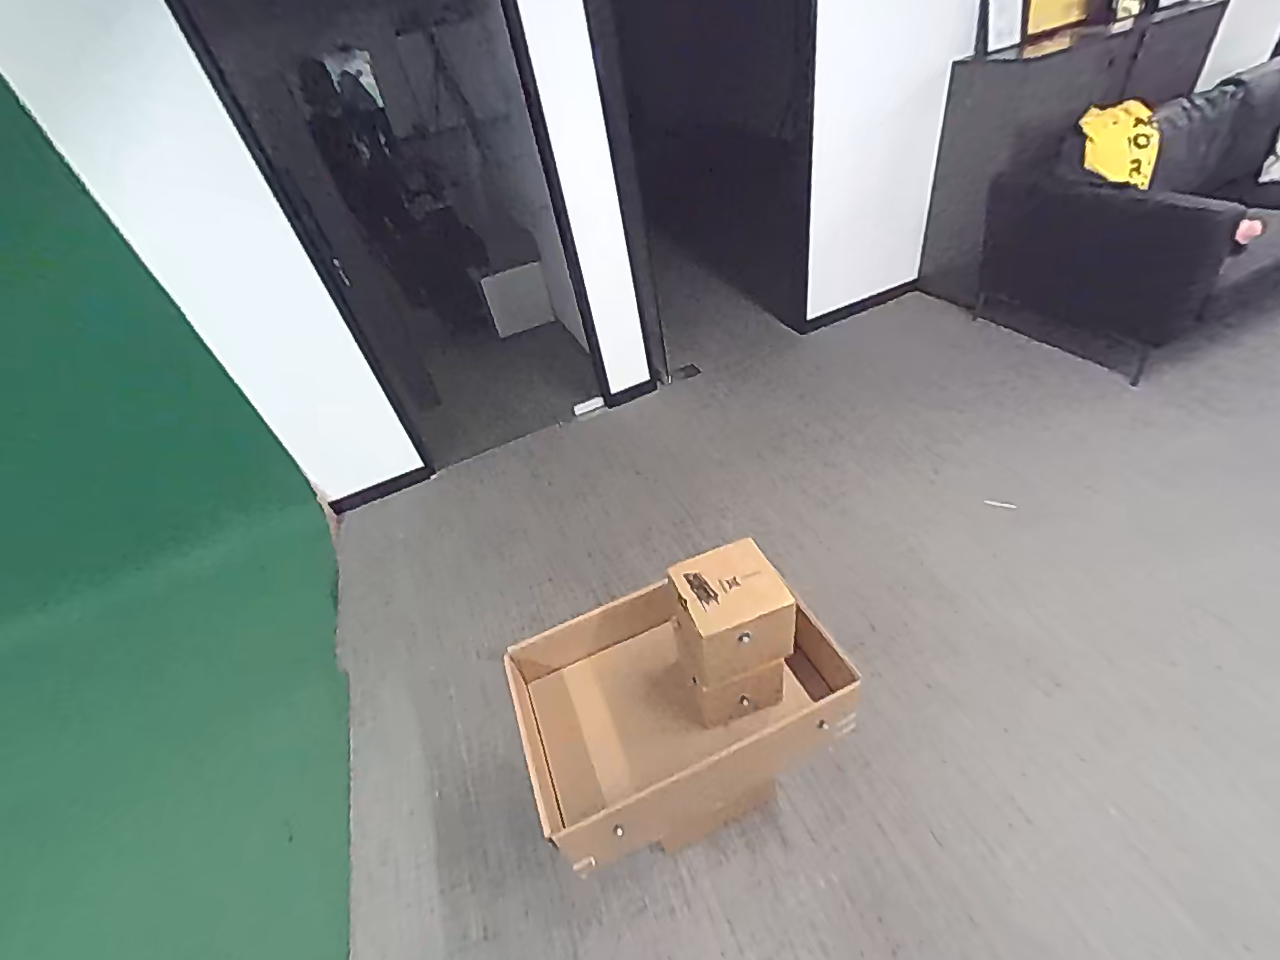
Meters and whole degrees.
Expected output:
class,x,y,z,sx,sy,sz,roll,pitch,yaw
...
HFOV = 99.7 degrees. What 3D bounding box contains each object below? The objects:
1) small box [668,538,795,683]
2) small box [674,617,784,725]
class,x,y,z,sx,sy,sz,roll,pitch,yaw
small box,0.169,0.242,0.996,0.179,0.176,0.168,-18,40,-9
small box,0.182,0.369,1.100,0.168,0.176,0.179,-18,39,-7
